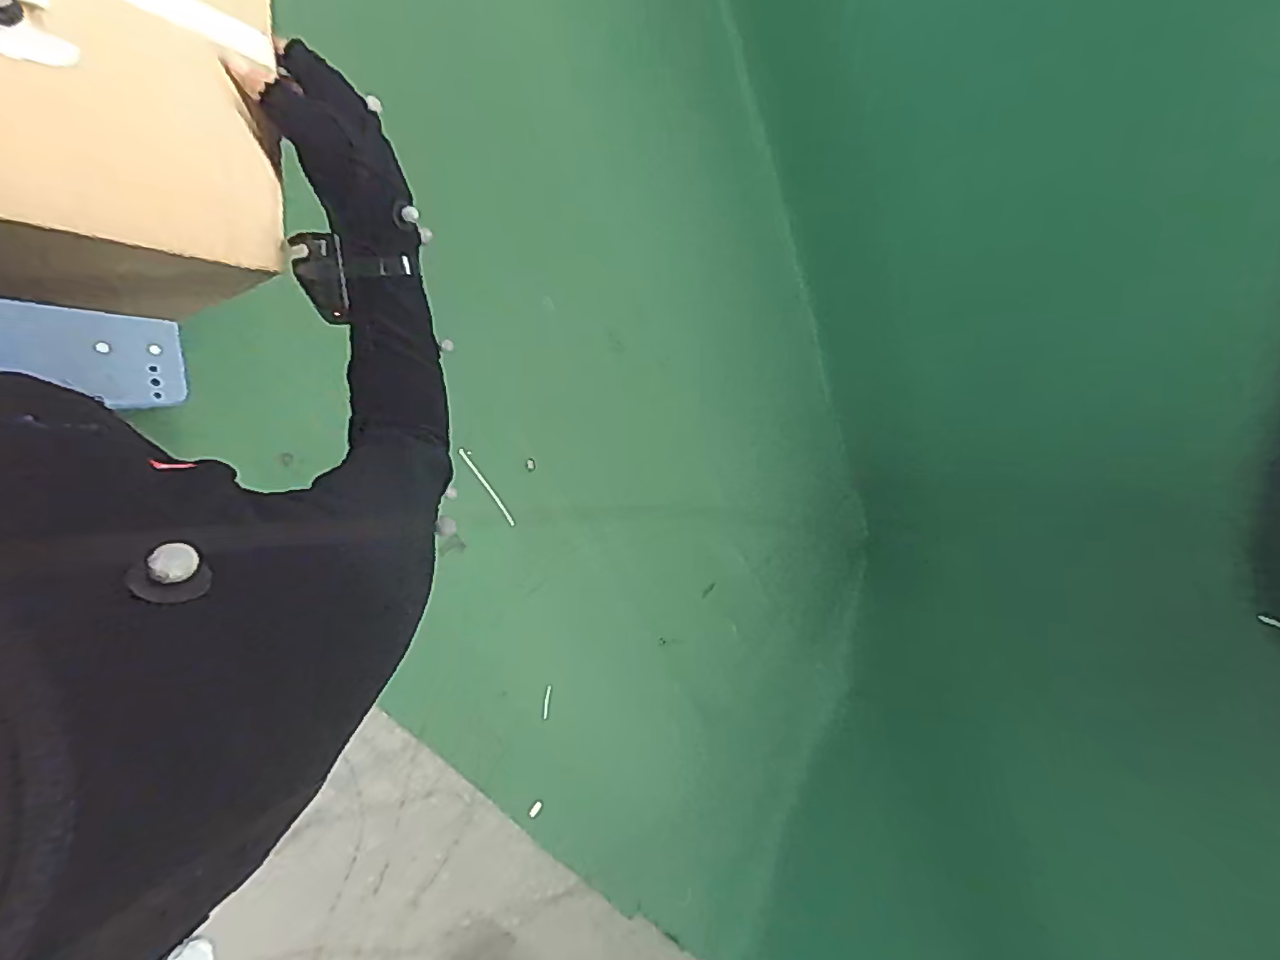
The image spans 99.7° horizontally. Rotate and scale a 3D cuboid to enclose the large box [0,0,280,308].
[{"bbox_3d":[-0.521,-0.316,0.344,0.408,0.320,0.320,-6,99,-52],"label":"large box"}]
